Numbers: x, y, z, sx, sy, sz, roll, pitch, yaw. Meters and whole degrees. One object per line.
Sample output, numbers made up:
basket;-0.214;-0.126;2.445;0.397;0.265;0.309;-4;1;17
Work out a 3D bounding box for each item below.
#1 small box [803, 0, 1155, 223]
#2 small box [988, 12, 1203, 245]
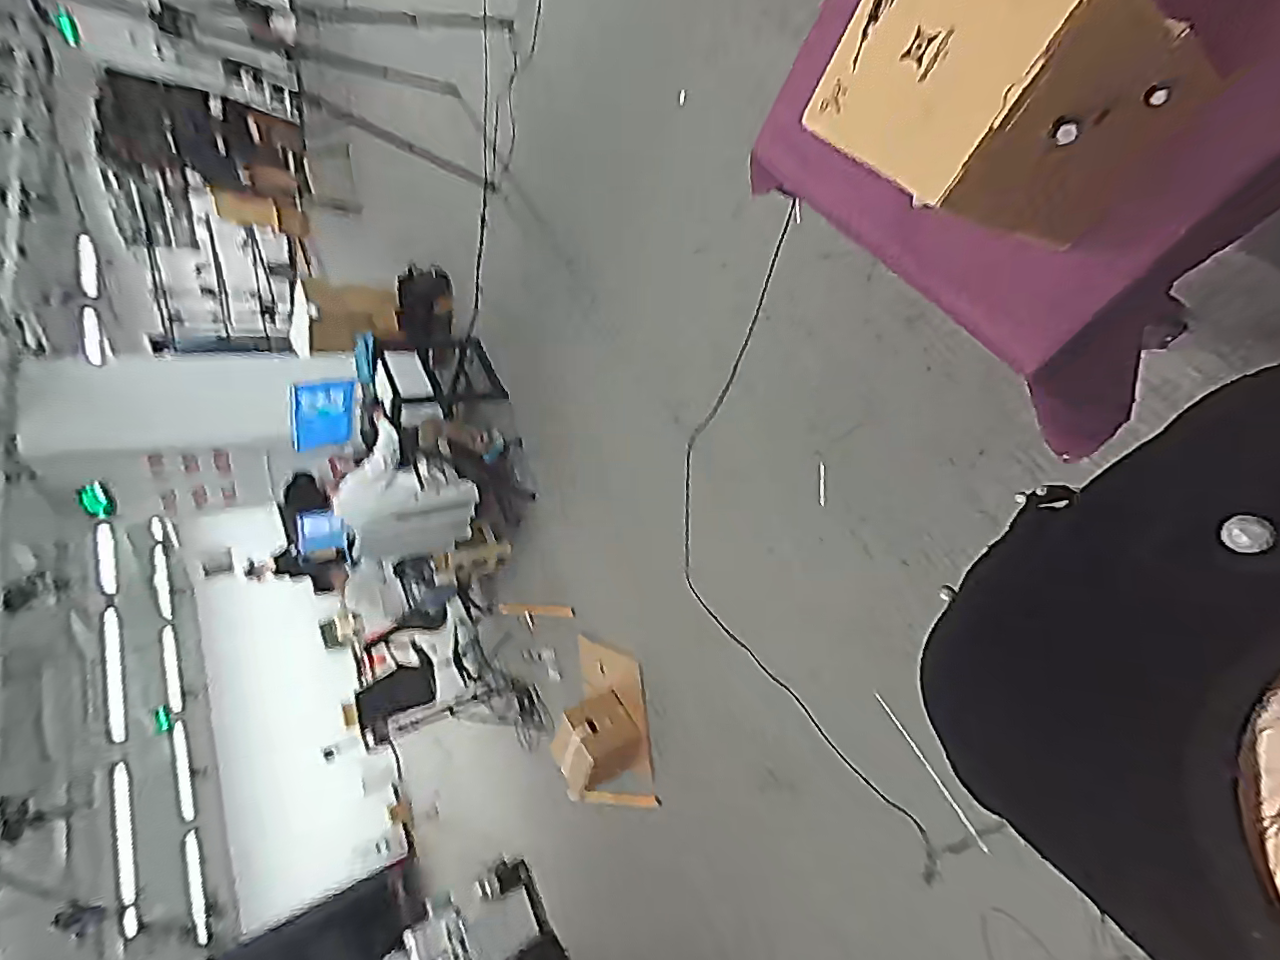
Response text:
small box;0.293;-0.351;0.481;0.179;0.176;0.168;56;137;29
small box;0.427;-0.374;0.573;0.168;0.176;0.179;57;137;29
